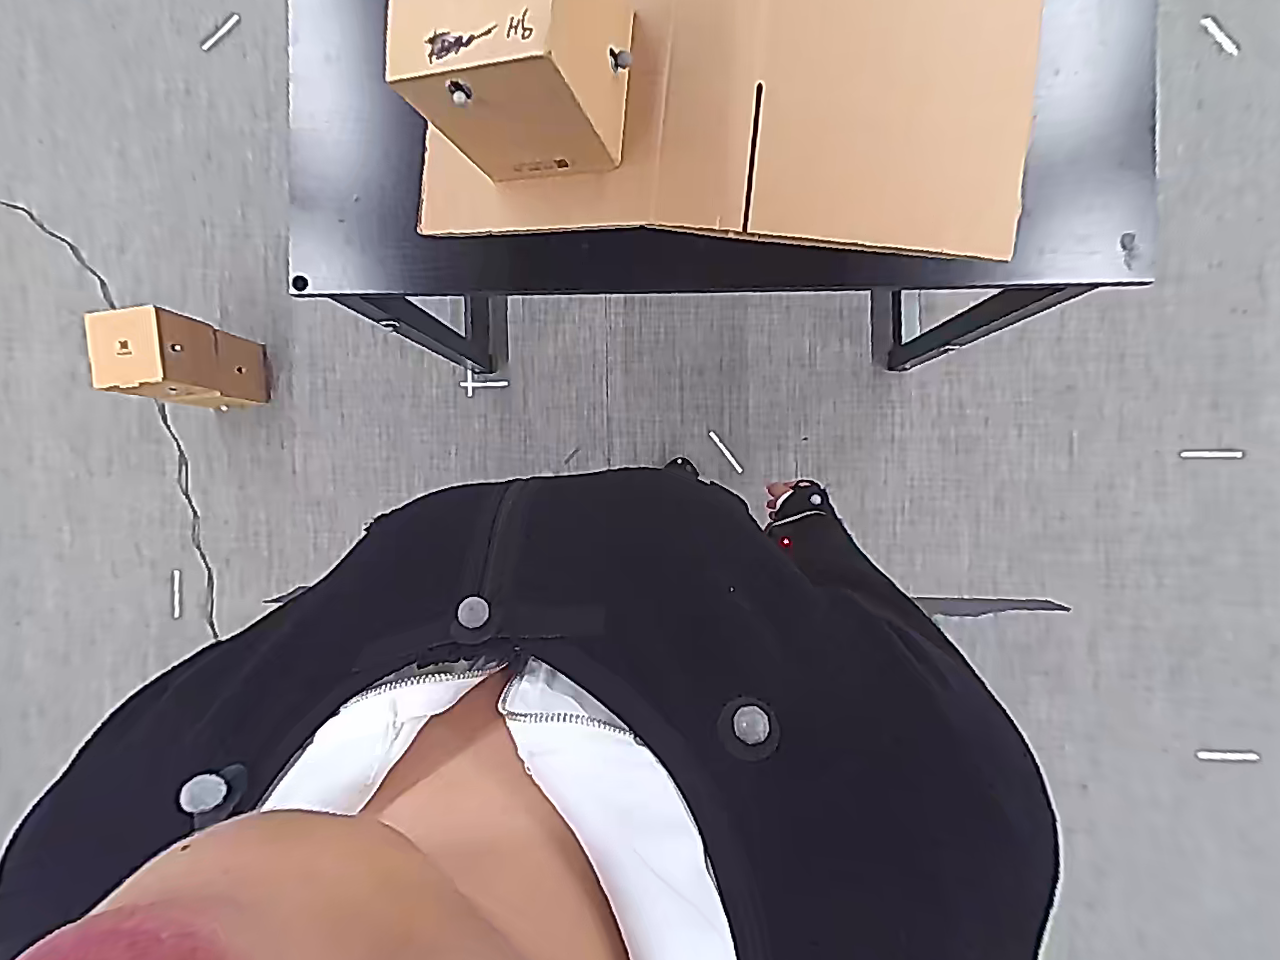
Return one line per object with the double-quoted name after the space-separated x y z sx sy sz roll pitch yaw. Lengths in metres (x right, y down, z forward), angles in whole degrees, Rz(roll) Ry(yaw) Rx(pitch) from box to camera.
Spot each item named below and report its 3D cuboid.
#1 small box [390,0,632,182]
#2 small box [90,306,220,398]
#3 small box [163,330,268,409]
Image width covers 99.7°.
-0.113 -0.431 0.536 0.168 0.176 0.179 5 90 18 "small box"
-1.157 -0.299 1.304 0.168 0.176 0.179 -7 89 2 "small box"
-1.148 -0.294 1.466 0.168 0.176 0.179 -4 91 3 "small box"
